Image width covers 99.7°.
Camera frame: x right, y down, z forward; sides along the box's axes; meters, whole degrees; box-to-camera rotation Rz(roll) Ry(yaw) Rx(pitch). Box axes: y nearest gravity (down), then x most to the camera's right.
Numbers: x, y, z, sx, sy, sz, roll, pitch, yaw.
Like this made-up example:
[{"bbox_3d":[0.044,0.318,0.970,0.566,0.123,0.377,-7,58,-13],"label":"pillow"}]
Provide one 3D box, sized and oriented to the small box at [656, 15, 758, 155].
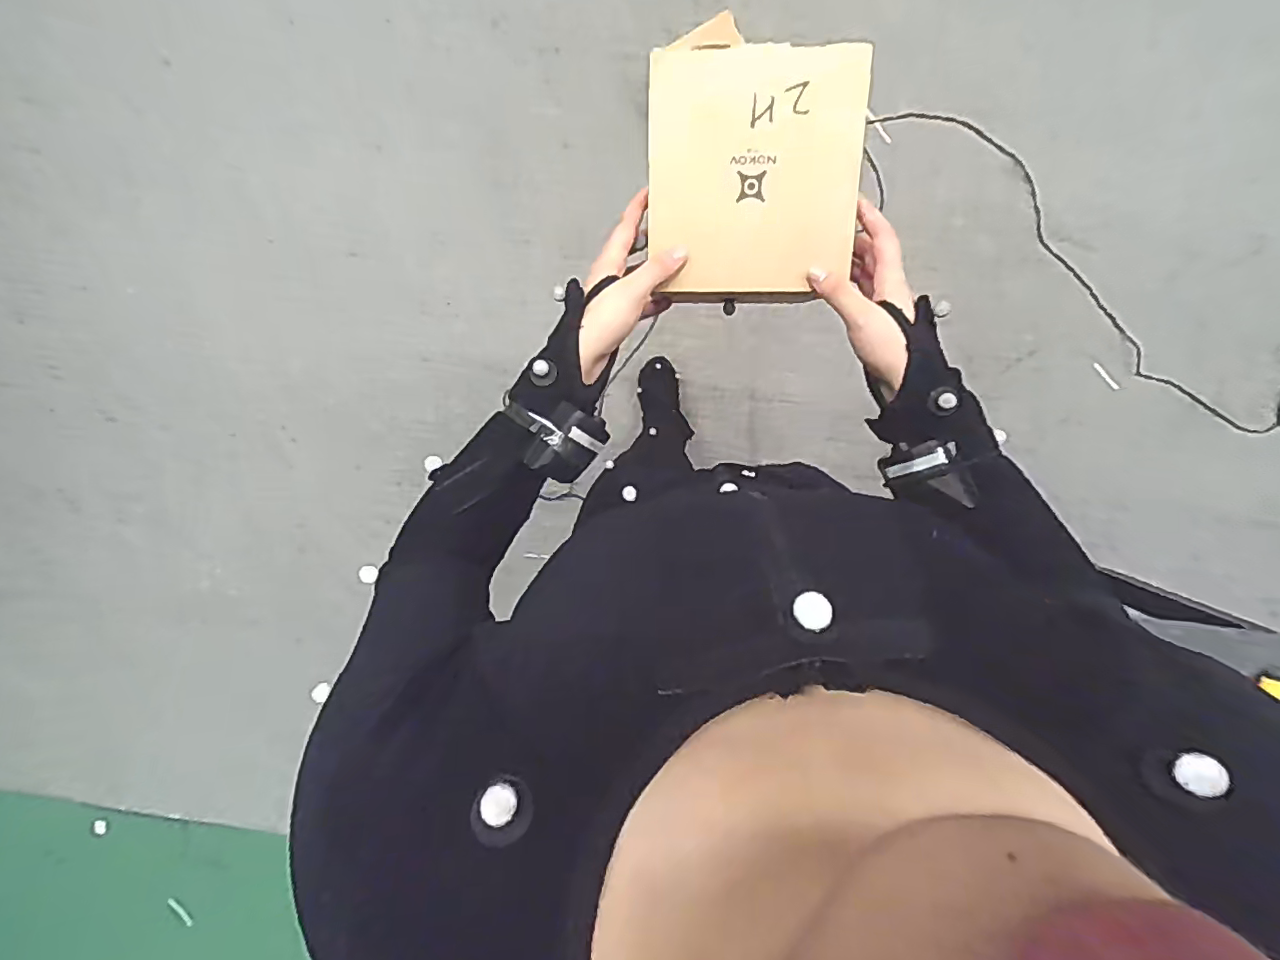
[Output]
[{"bbox_3d":[0.152,-0.905,1.261,0.179,0.176,0.168,-29,96,6],"label":"small box"}]
